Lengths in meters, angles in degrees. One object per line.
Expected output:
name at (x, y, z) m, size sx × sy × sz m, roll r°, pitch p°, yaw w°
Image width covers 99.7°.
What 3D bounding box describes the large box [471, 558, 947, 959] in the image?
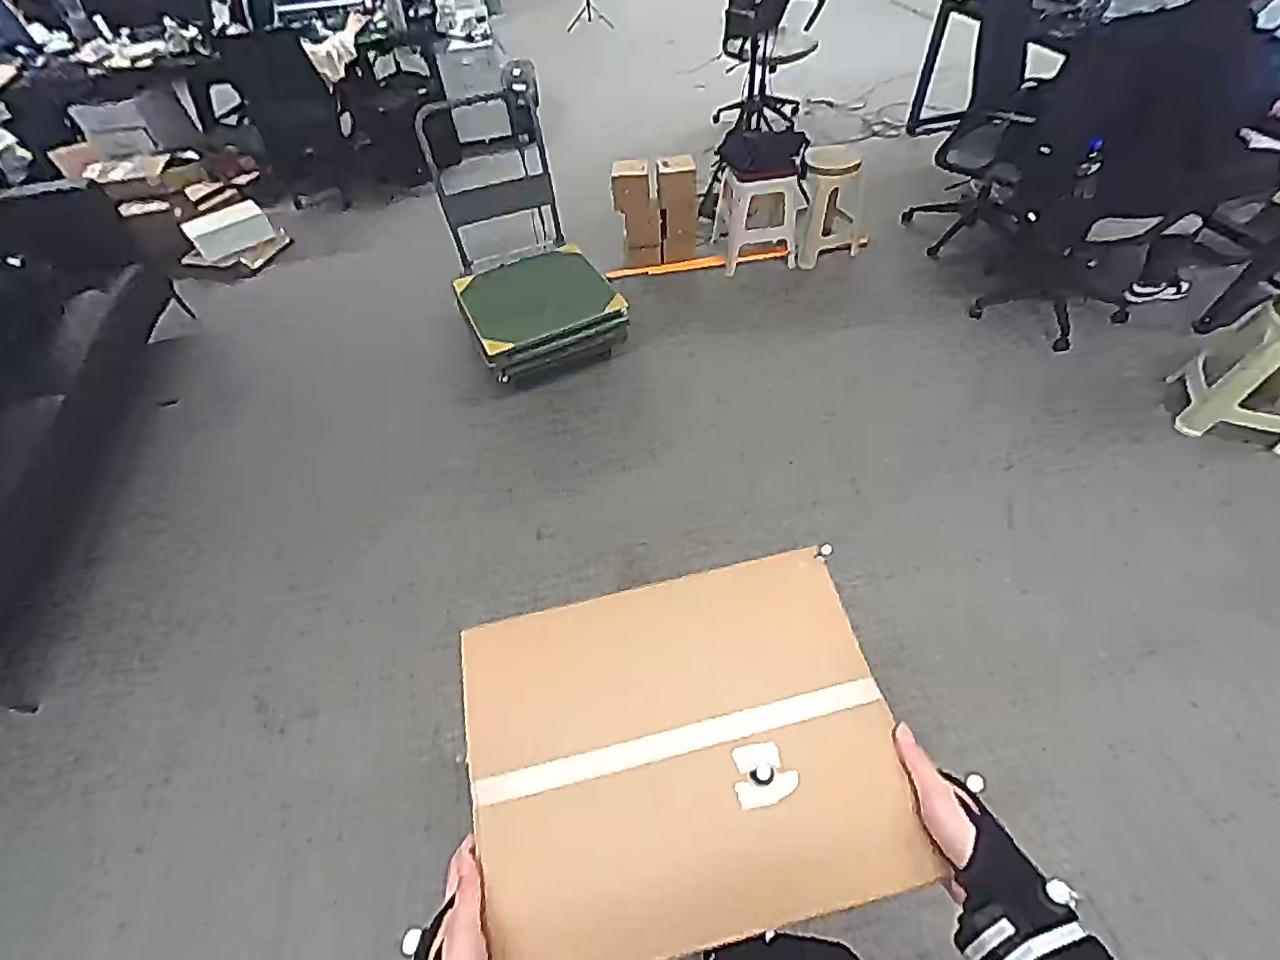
large box at (0.049, 0.338, 0.657) m, size 0.408 × 0.320 × 0.320 m, roll -13°, pitch 61°, yaw -5°
